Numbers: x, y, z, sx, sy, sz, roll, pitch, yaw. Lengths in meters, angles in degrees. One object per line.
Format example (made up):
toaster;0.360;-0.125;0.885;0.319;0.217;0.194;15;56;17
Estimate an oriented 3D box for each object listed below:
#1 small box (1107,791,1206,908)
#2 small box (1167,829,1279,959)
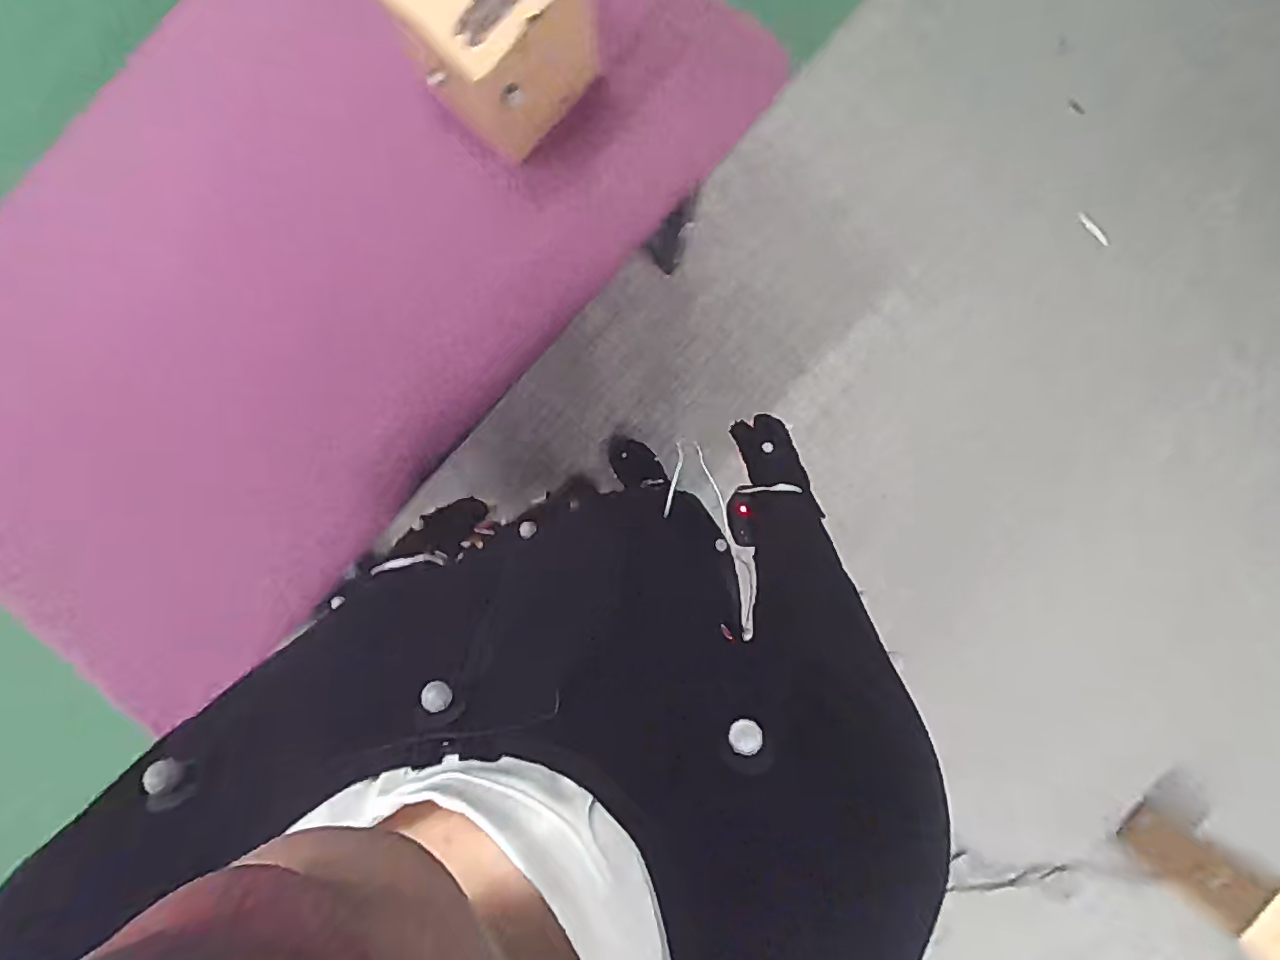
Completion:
small box;1.492;1.026;1.517;0.179;0.176;0.168;39;91;-3
small box;1.501;1.024;1.353;0.179;0.176;0.168;39;92;-3
